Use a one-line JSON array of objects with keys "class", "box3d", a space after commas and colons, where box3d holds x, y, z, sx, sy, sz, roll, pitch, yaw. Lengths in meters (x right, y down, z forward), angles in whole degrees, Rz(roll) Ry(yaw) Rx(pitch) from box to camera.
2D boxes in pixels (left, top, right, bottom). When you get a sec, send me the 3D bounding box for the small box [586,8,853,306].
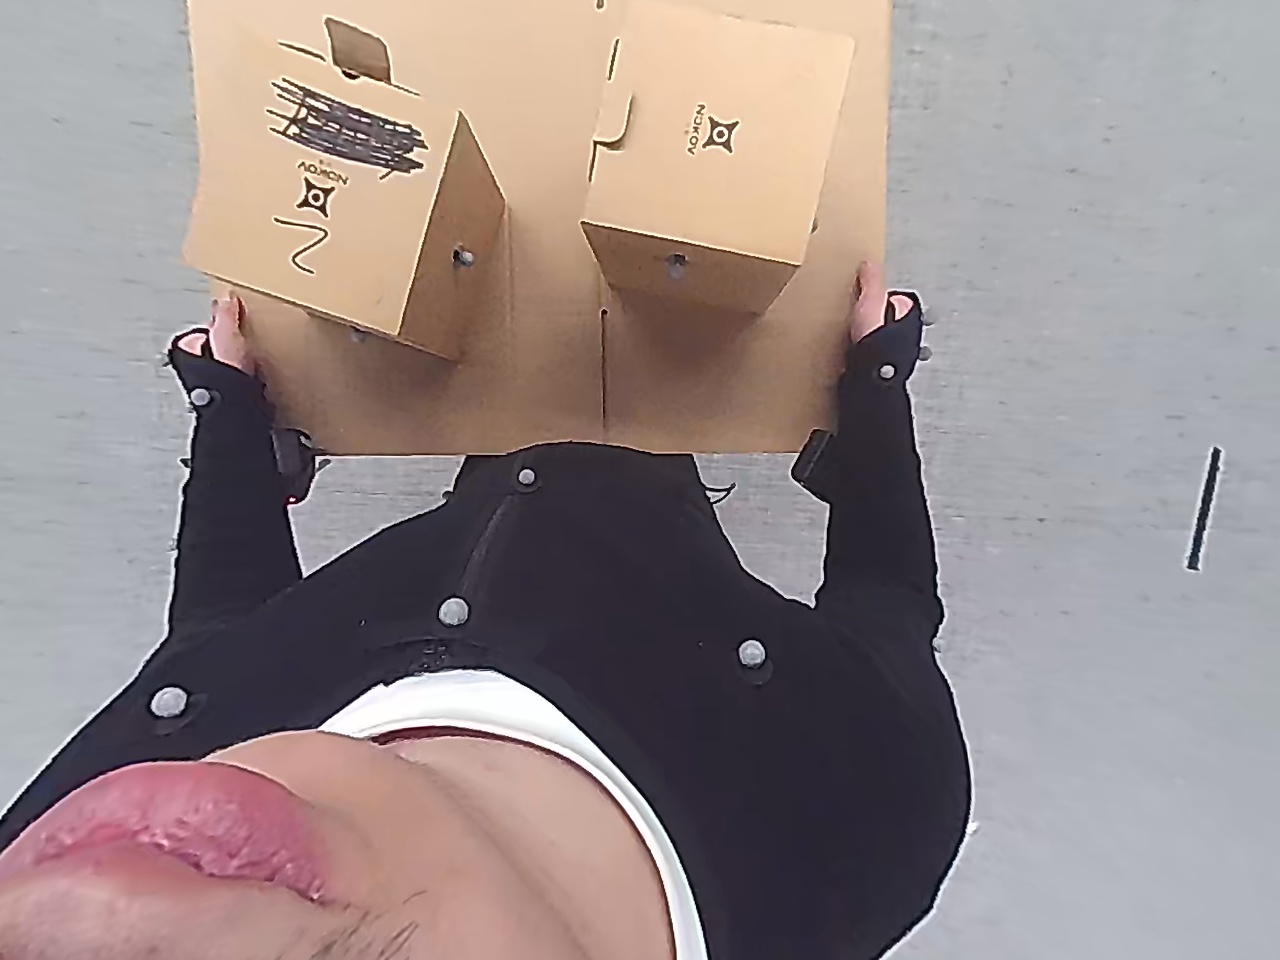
[{"class": "small box", "box3d": [0.064, -0.269, 0.495, 0.179, 0.176, 0.168, 13, 96, 3]}]
